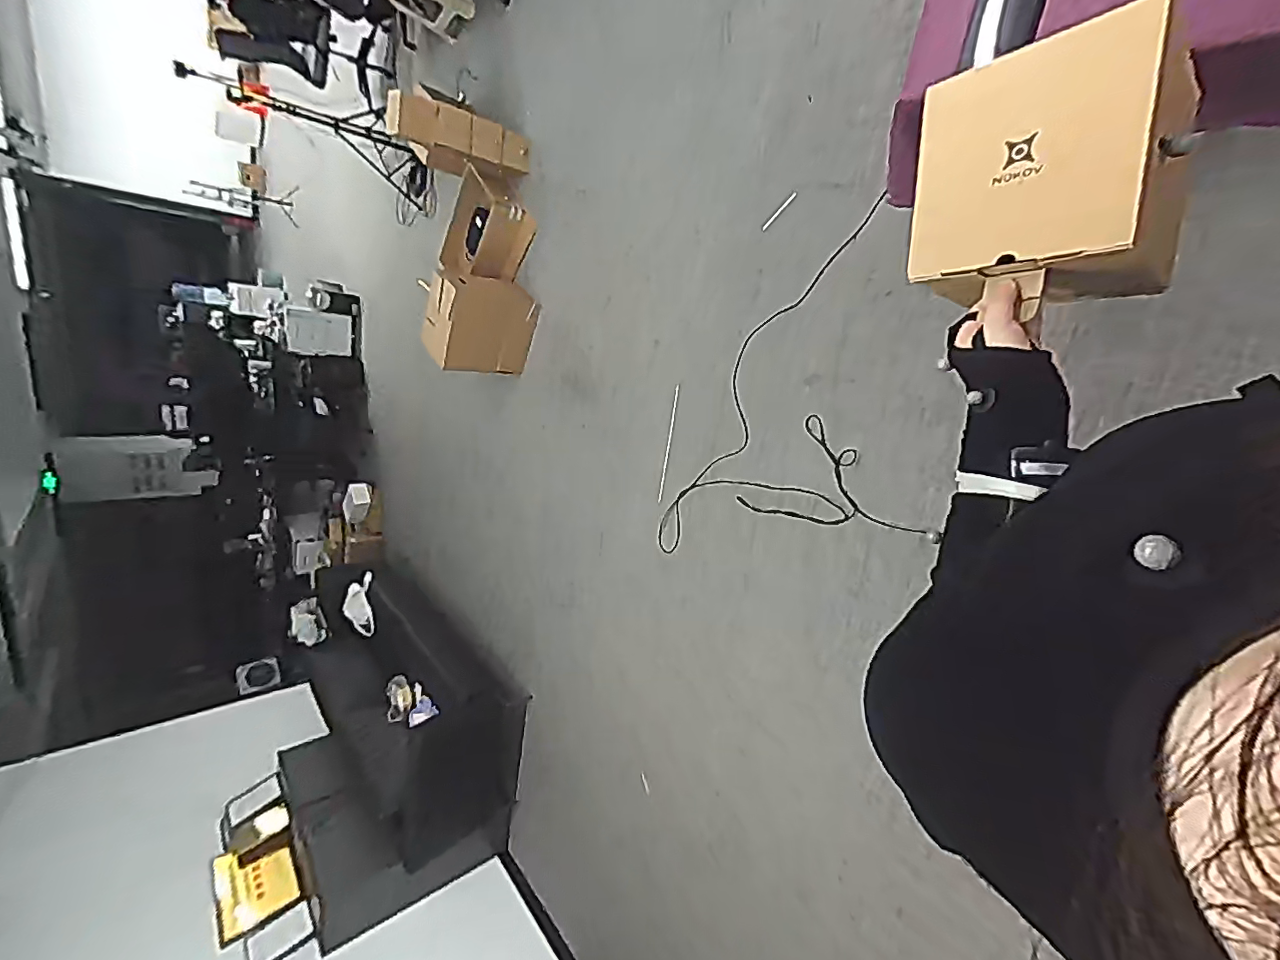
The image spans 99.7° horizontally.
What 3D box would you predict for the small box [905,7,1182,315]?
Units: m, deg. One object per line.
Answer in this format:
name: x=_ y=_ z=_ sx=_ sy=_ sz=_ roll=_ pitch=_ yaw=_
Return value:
small box: x=0.374 y=-0.264 z=0.503 sx=0.168 sy=0.176 sz=0.179 roll=10 pitch=100 yaw=49
